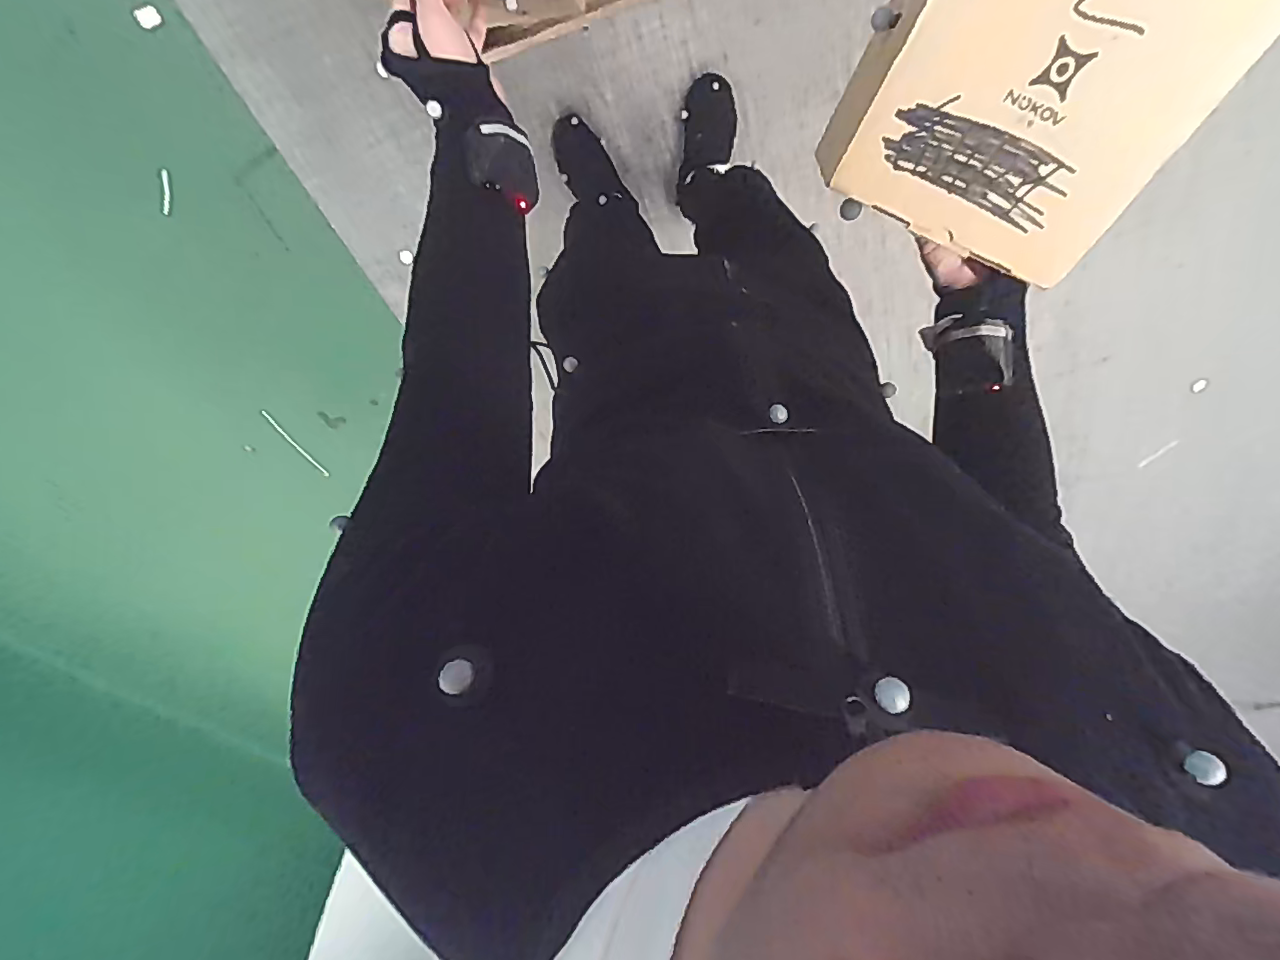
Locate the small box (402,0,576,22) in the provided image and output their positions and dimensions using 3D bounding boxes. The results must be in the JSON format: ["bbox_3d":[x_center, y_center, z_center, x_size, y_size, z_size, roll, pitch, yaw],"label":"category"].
[{"bbox_3d":[-0.161,-0.542,0.482,0.168,0.176,0.179,4,116,13],"label":"small box"}]
